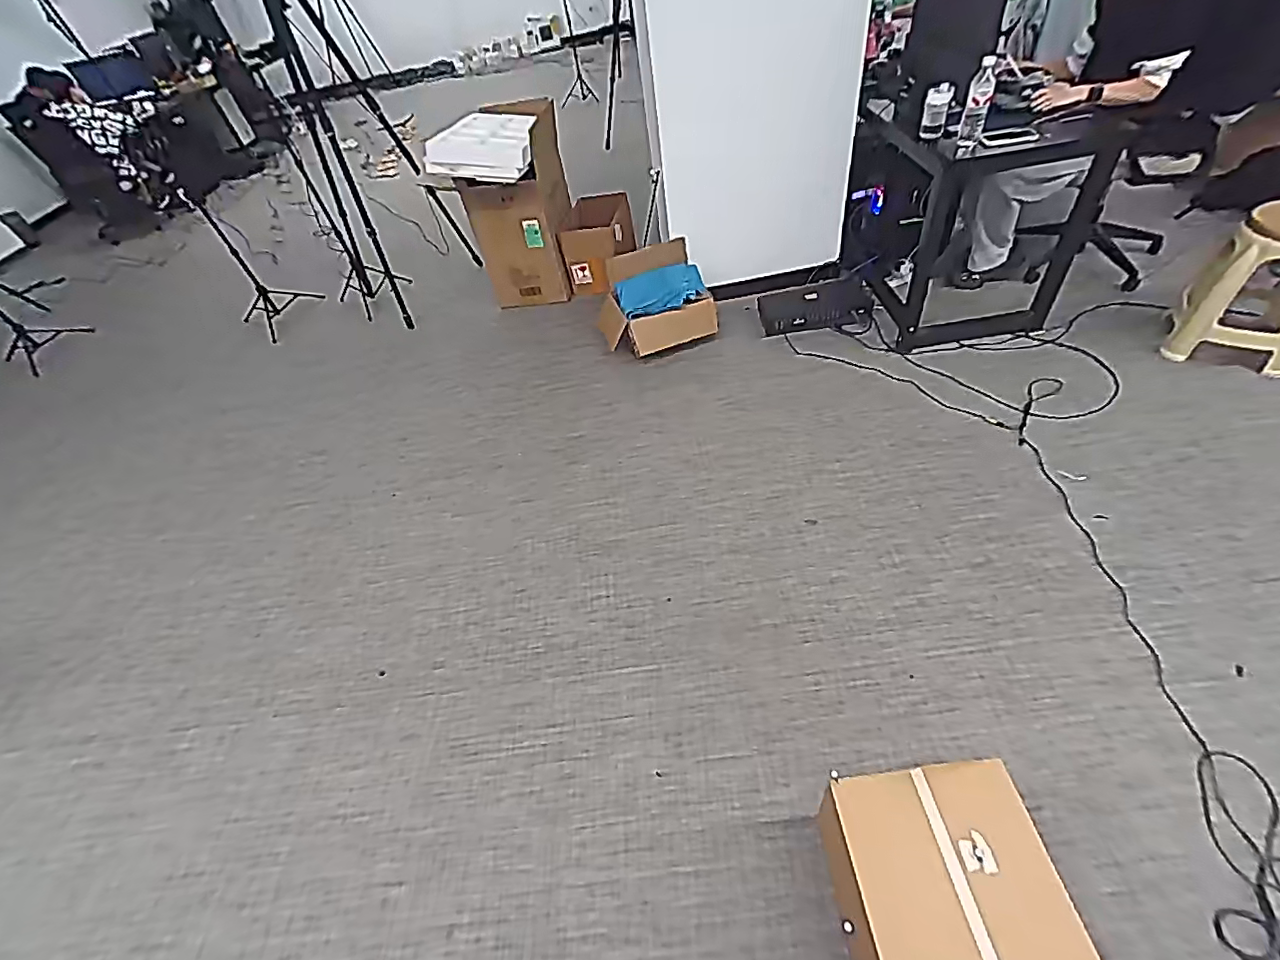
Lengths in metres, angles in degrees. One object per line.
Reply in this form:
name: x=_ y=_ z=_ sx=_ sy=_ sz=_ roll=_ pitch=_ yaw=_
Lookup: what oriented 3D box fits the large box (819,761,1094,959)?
large box: x=0.543 y=0.786 z=0.974 sx=0.320 sy=0.320 sz=0.408 roll=-8 pitch=46 yaw=3
